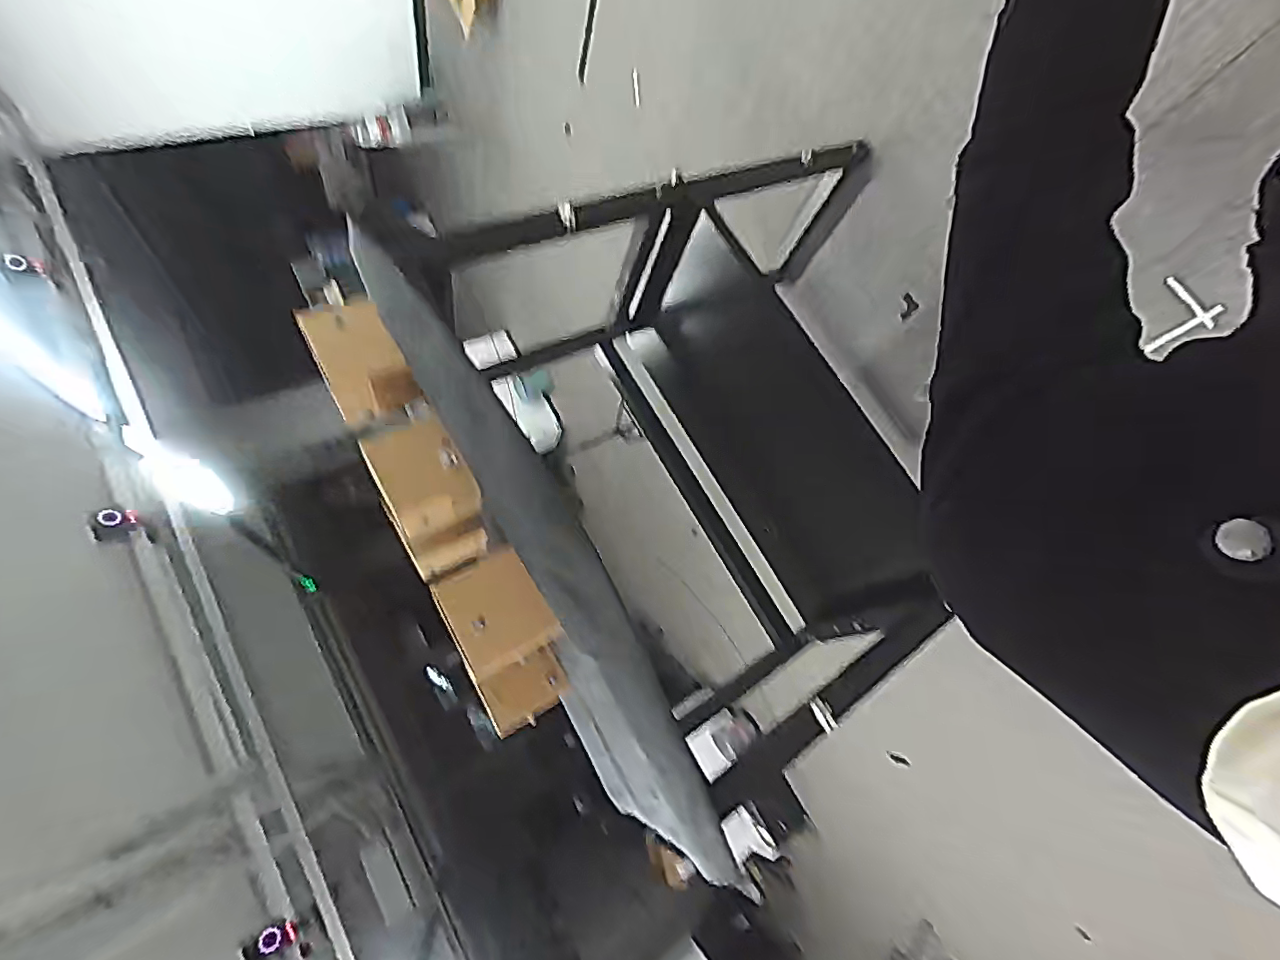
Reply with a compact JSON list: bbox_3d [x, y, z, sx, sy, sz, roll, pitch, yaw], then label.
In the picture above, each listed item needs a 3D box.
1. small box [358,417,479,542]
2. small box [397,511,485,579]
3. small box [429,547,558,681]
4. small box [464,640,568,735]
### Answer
[{"bbox_3d":[-0.438,0.000,1.095,0.168,0.176,0.179,58,156,10],"label":"small box"},{"bbox_3d":[-0.488,0.110,1.303,0.179,0.176,0.168,59,156,12],"label":"small box"},{"bbox_3d":[-0.270,0.251,1.007,0.179,0.176,0.168,59,155,10],"label":"small box"},{"bbox_3d":[-0.276,0.446,1.211,0.168,0.176,0.179,57,155,15],"label":"small box"}]
